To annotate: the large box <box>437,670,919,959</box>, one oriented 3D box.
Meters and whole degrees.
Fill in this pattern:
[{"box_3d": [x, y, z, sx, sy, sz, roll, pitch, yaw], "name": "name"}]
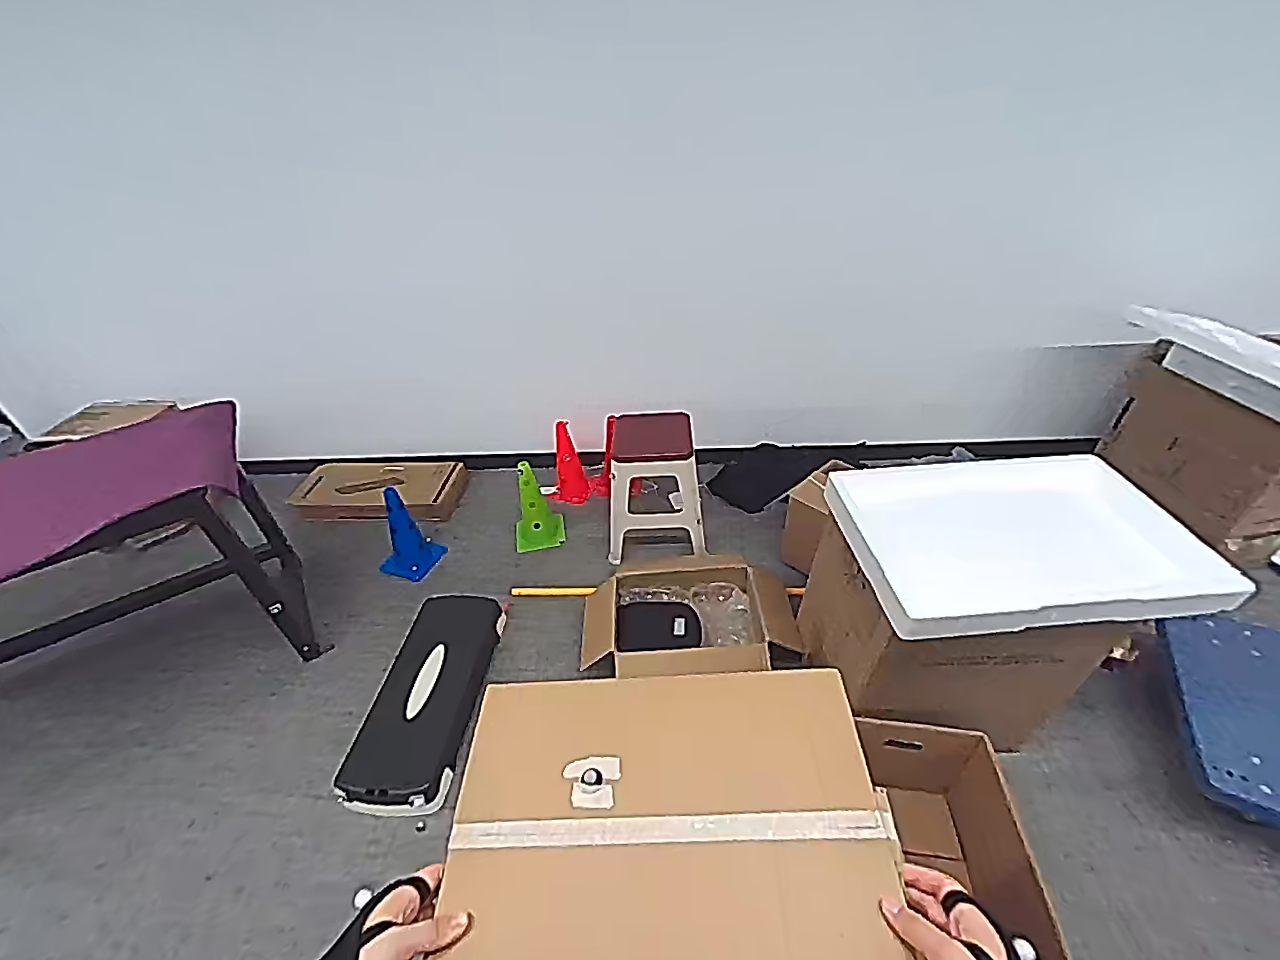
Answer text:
[{"box_3d": [0.044, 0.447, 0.605, 0.408, 0.320, 0.320, -6, 39, 6], "name": "large box"}]
